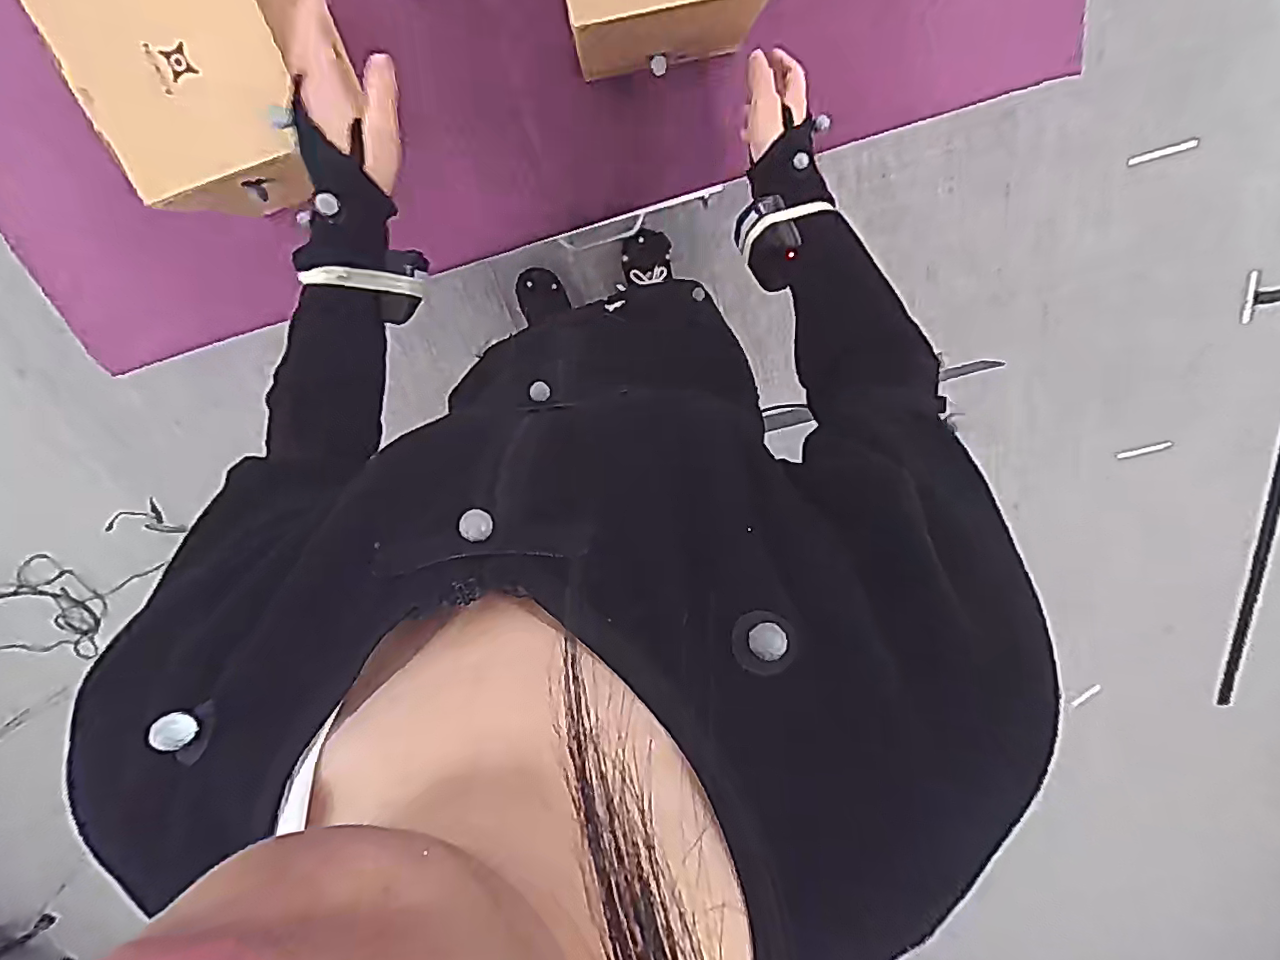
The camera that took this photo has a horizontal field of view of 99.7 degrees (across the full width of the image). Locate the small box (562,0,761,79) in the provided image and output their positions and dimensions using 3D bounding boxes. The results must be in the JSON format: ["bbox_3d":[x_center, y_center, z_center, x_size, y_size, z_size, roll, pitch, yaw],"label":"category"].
[{"bbox_3d":[0.005,-0.484,0.466,0.168,0.176,0.179,-9,115,3],"label":"small box"}]

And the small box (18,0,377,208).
[{"bbox_3d":[-0.379,-0.369,0.508,0.179,0.176,0.168,-16,114,6],"label":"small box"}]
